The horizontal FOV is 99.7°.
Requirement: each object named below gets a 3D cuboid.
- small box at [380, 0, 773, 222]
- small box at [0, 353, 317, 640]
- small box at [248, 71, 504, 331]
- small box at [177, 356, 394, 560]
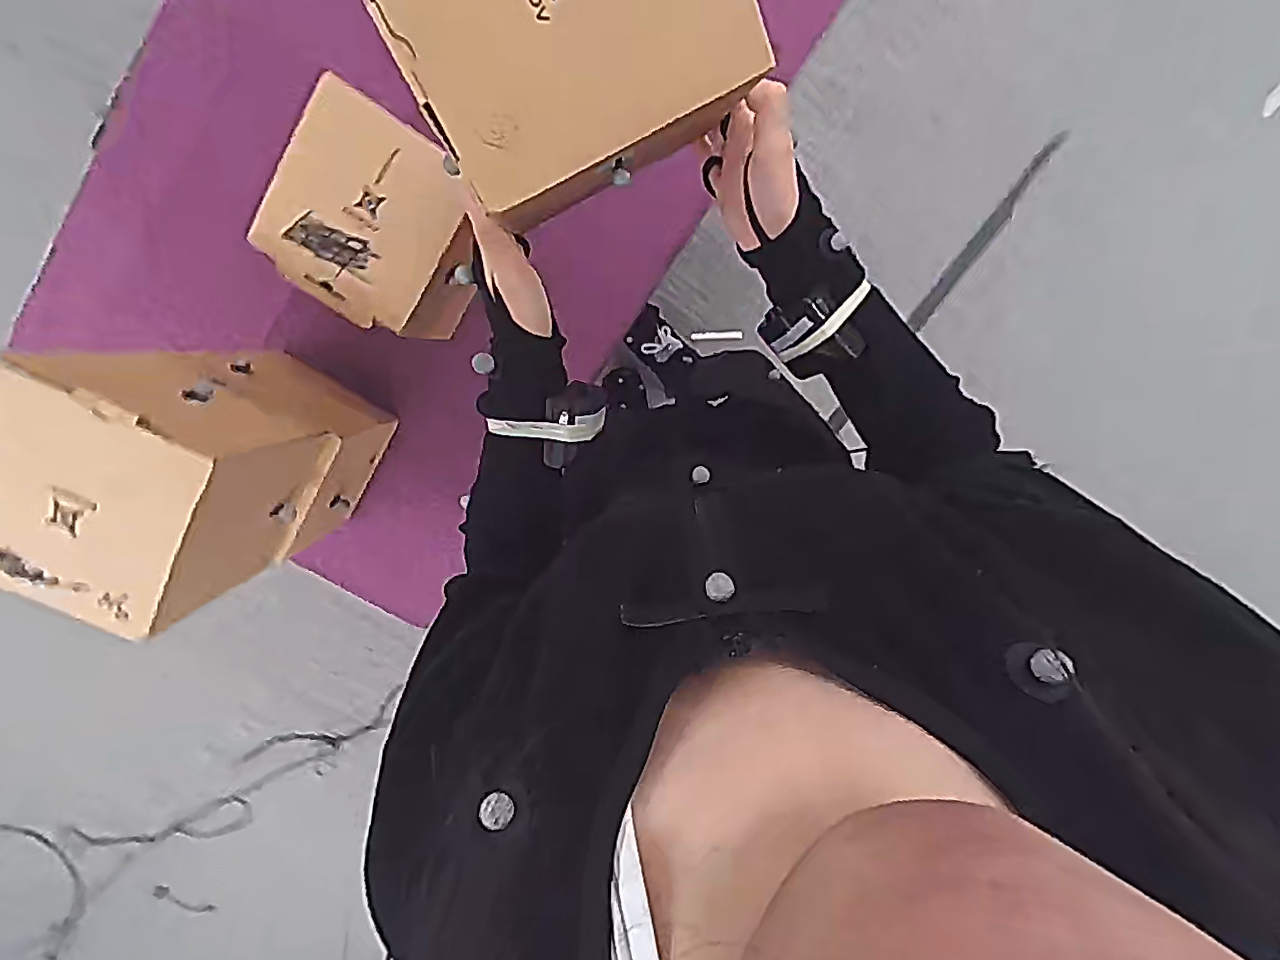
[{"bbox_3d":[-0.047,-0.279,0.335,0.179,0.176,0.168,-25,113,3],"label":"small box"},{"bbox_3d":[-0.432,0.002,0.489,0.168,0.176,0.179,28,100,-8],"label":"small box"},{"bbox_3d":[-0.270,-0.280,0.597,0.168,0.176,0.179,31,99,-10],"label":"small box"},{"bbox_3d":[-0.432,-0.039,0.648,0.179,0.176,0.168,30,101,-9],"label":"small box"}]
